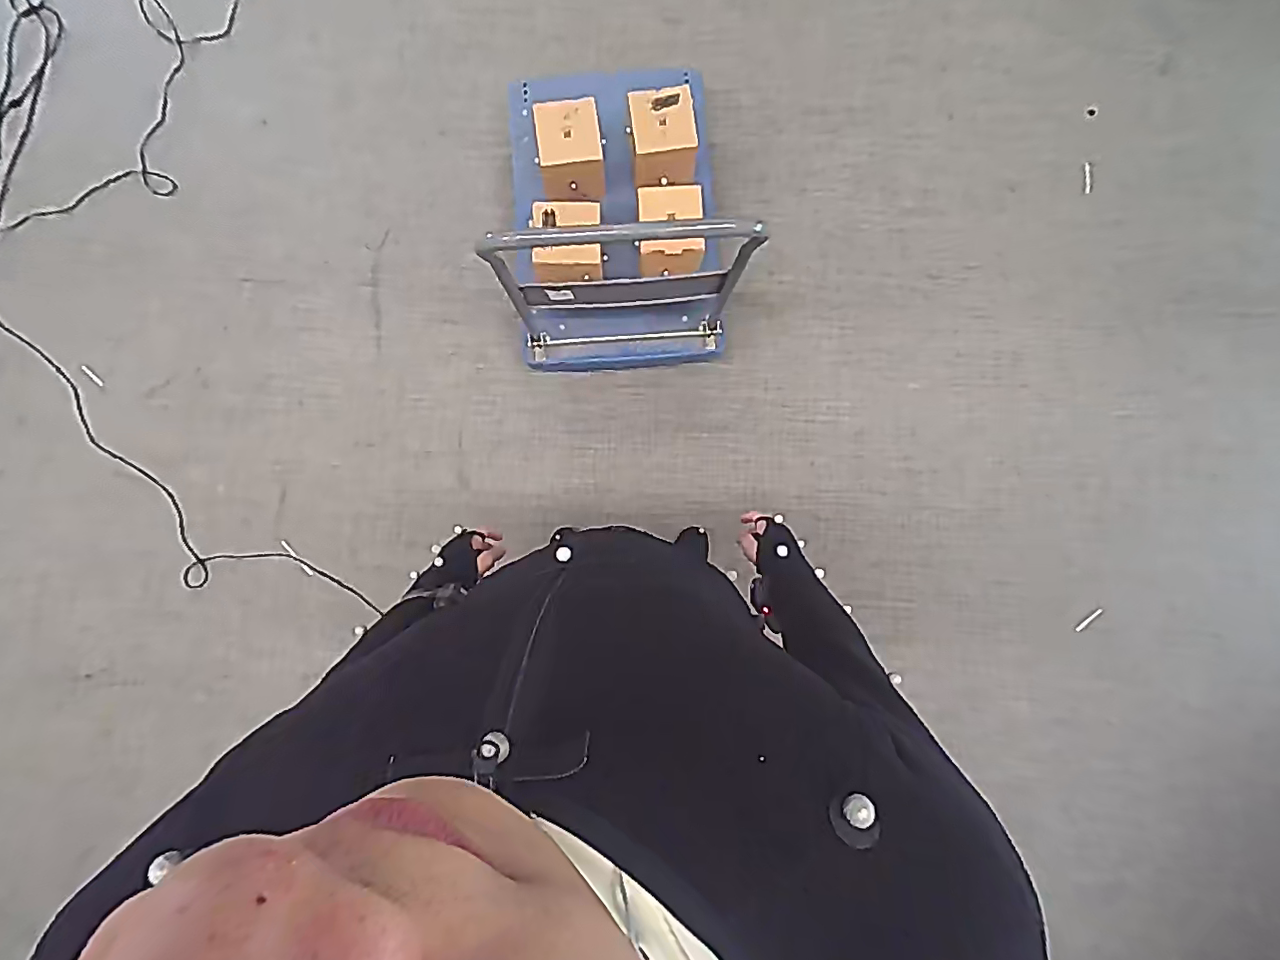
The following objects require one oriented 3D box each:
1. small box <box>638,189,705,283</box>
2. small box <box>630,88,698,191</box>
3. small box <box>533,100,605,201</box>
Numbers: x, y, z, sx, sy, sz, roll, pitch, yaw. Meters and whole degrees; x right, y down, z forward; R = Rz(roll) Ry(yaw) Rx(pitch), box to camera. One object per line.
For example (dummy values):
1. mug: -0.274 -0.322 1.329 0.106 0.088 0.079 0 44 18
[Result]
1. small box: 0.080 -0.658 1.468 0.168 0.176 0.179 -3 86 -1
2. small box: 0.061 -0.927 1.488 0.168 0.176 0.179 -7 87 0
3. small box: -0.189 -0.892 1.484 0.168 0.176 0.179 -7 86 -2
